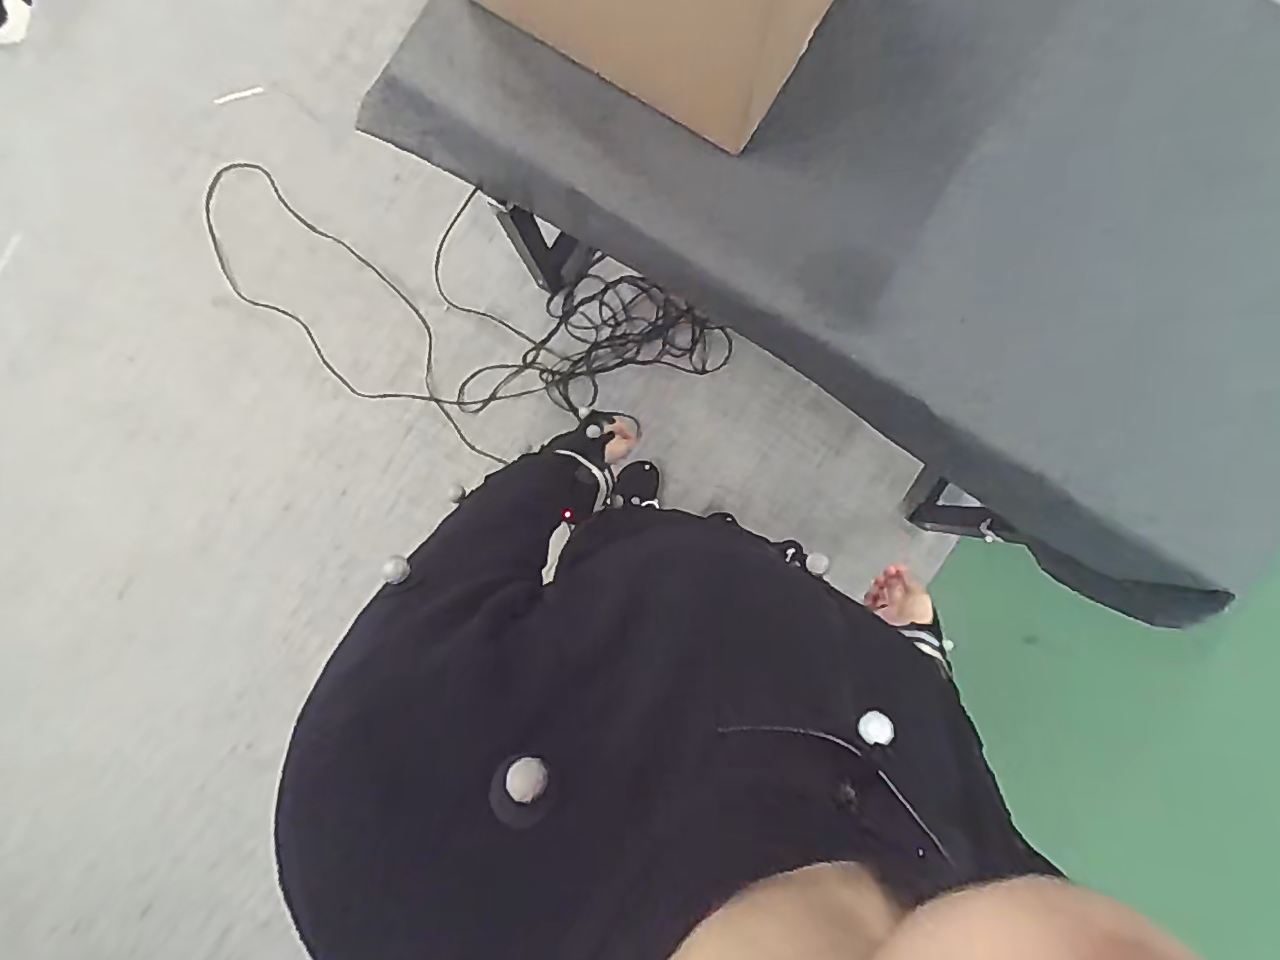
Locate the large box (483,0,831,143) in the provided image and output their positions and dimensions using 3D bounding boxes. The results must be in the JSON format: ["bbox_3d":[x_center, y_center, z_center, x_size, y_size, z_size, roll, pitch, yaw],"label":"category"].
[{"bbox_3d":[0.030,-0.636,0.517,0.408,0.320,0.320,31,91,1],"label":"large box"}]
